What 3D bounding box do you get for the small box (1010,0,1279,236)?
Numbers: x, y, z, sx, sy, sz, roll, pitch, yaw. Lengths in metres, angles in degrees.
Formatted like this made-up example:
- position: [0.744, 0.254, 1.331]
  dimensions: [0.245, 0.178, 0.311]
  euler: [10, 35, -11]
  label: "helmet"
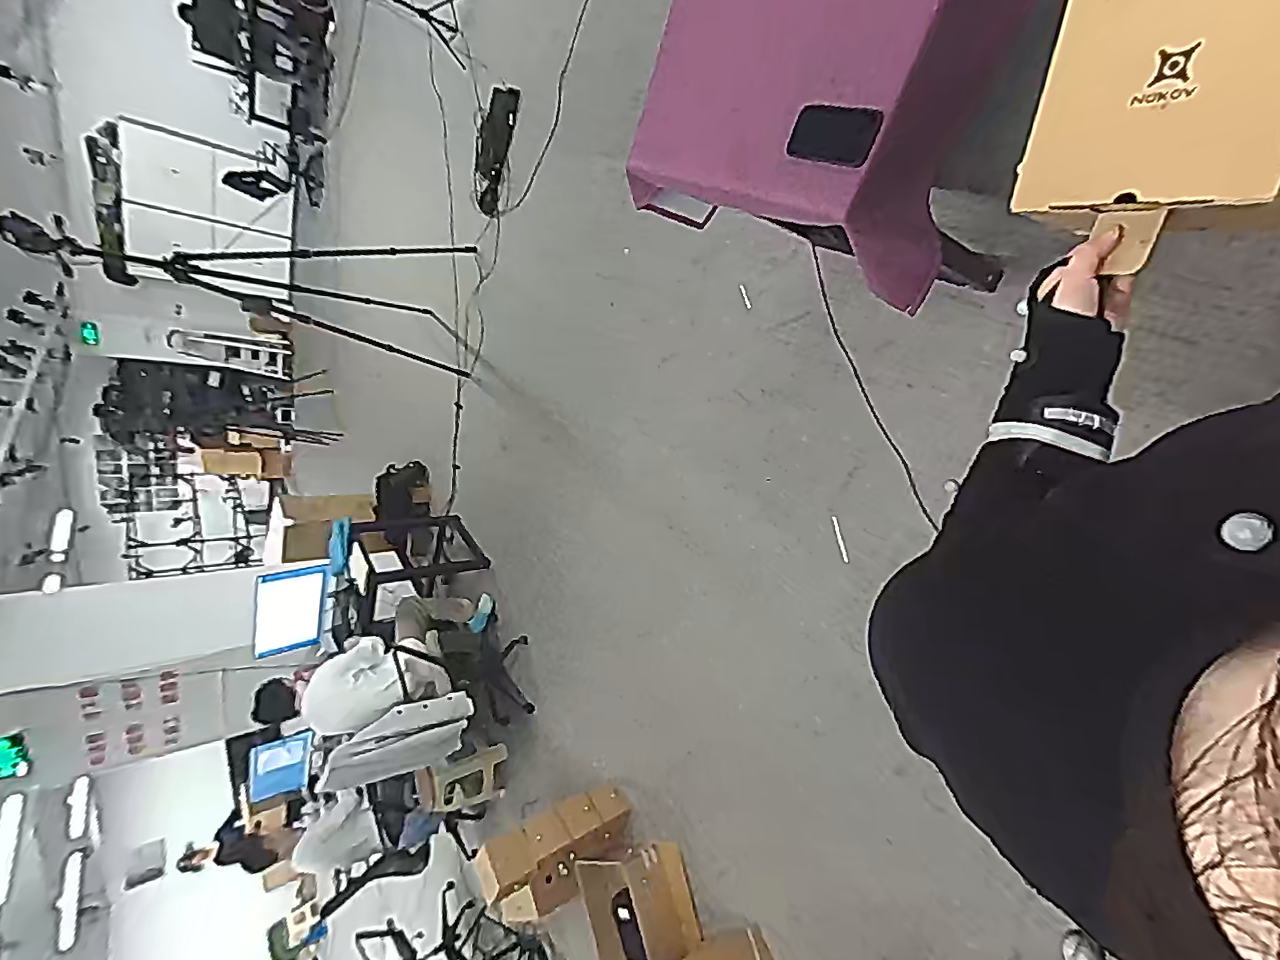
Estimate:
- position: [0.455, -0.309, 0.450]
  dimensions: [0.168, 0.176, 0.179]
  euler: [30, 122, 48]
  label: "small box"
